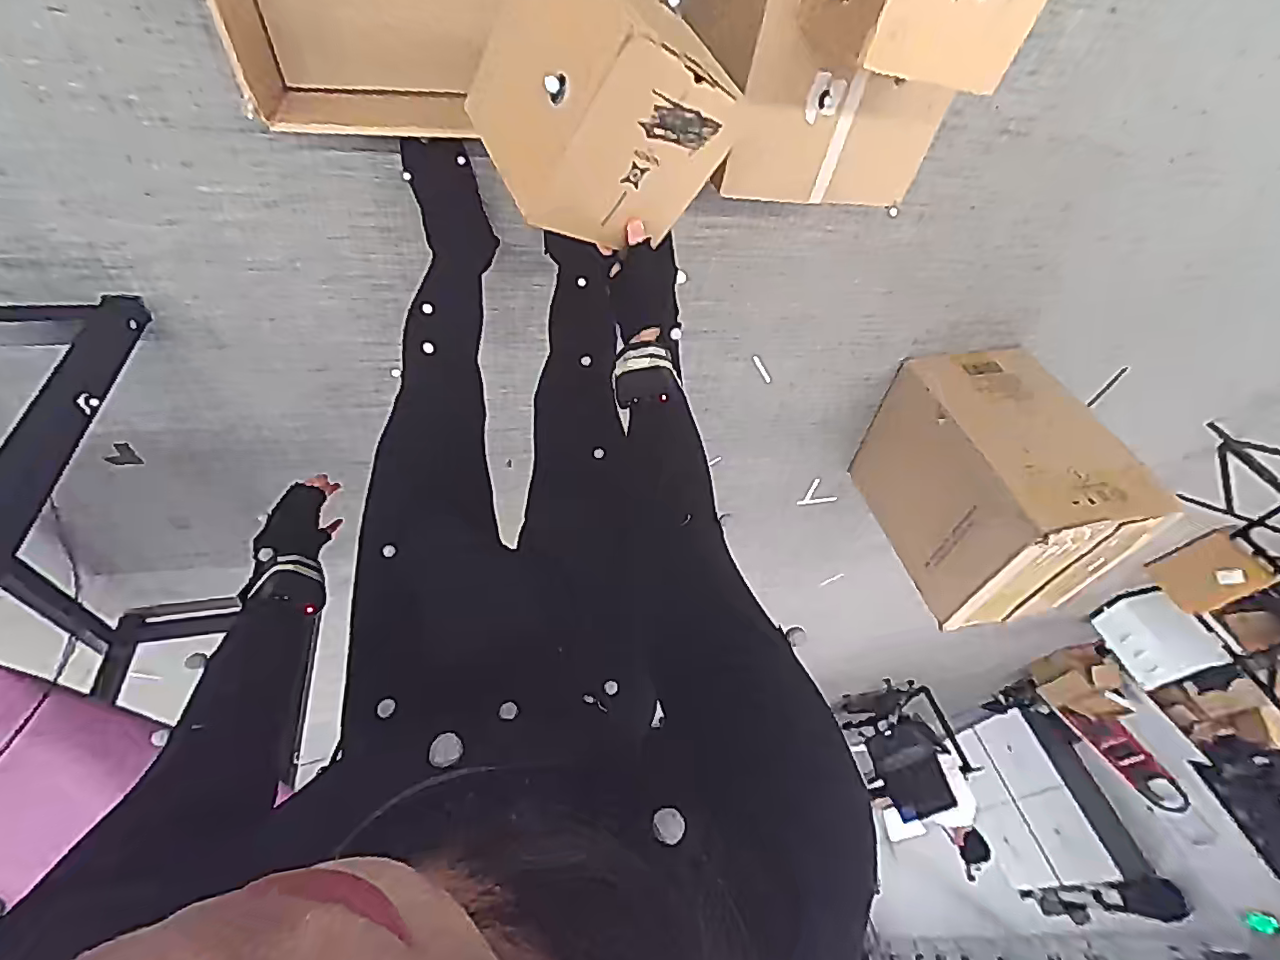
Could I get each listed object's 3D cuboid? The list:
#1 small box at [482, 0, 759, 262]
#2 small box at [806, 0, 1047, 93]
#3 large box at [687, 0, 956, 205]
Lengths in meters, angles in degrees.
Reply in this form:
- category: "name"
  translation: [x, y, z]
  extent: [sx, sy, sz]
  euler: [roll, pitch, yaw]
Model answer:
- category: "small box"
  translation: [-0.027, -0.351, 0.518]
  extent: [0.168, 0.176, 0.179]
  euler: [-6, 154, -46]
- category: "small box"
  translation: [0.299, -0.530, 0.548]
  extent: [0.179, 0.176, 0.168]
  euler: [-2, 143, -16]
- category: "large box"
  translation: [0.260, -0.667, 0.763]
  extent: [0.320, 0.320, 0.408]
  euler: [-4, 142, -14]
